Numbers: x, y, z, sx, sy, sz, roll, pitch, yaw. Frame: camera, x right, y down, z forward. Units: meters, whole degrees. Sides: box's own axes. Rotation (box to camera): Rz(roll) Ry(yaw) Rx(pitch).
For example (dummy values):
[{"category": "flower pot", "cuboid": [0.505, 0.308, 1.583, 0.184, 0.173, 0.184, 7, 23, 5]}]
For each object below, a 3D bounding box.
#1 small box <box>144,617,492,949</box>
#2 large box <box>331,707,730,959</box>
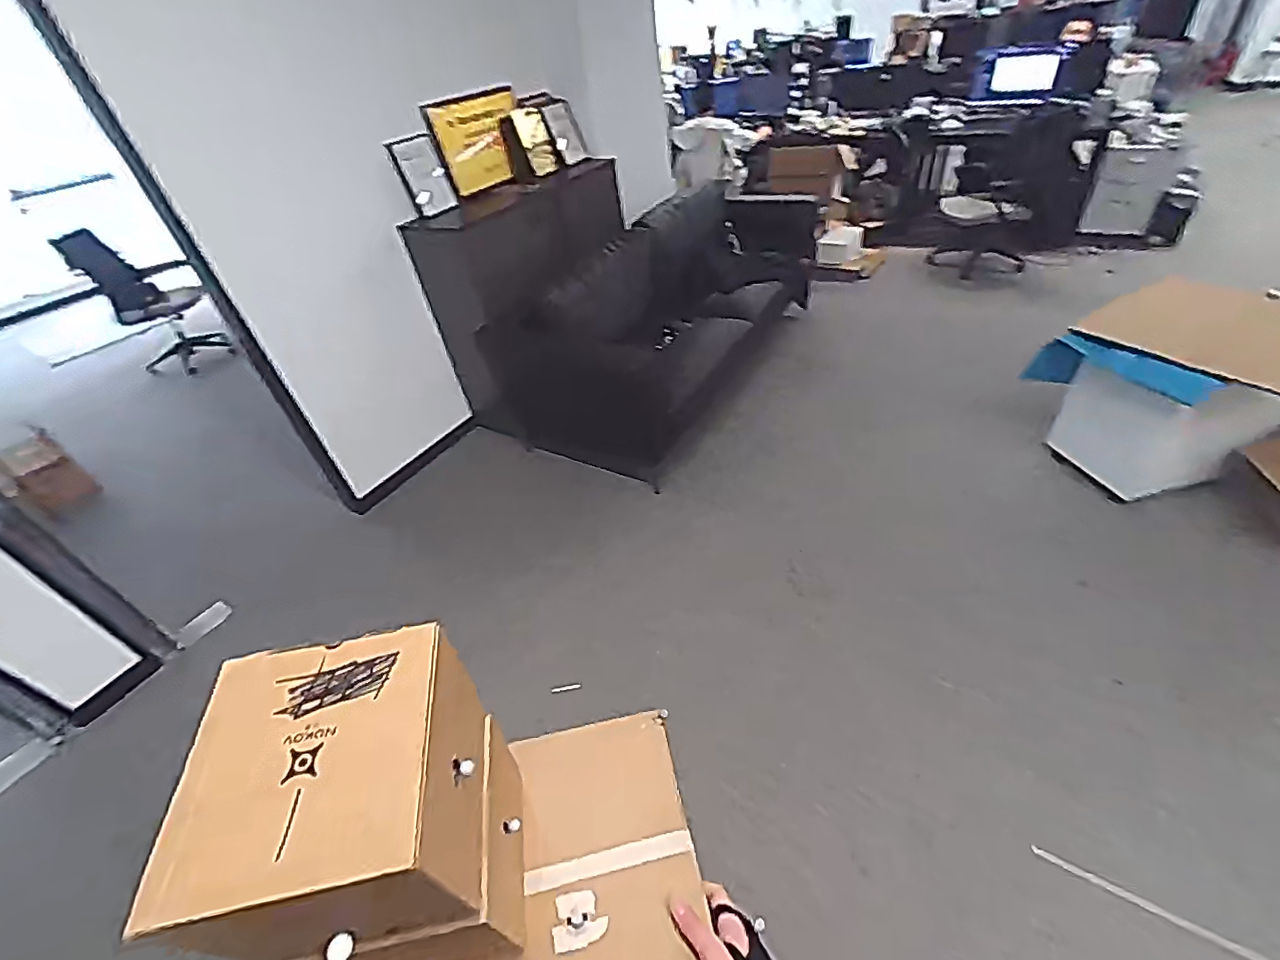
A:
[{"category": "small box", "cuboid": [-0.221, 0.241, 0.436, 0.168, 0.176, 0.179, -9, 44, -6]}, {"category": "large box", "cuboid": [-0.125, 0.551, 0.699, 0.408, 0.320, 0.320, -9, 45, -7]}]
